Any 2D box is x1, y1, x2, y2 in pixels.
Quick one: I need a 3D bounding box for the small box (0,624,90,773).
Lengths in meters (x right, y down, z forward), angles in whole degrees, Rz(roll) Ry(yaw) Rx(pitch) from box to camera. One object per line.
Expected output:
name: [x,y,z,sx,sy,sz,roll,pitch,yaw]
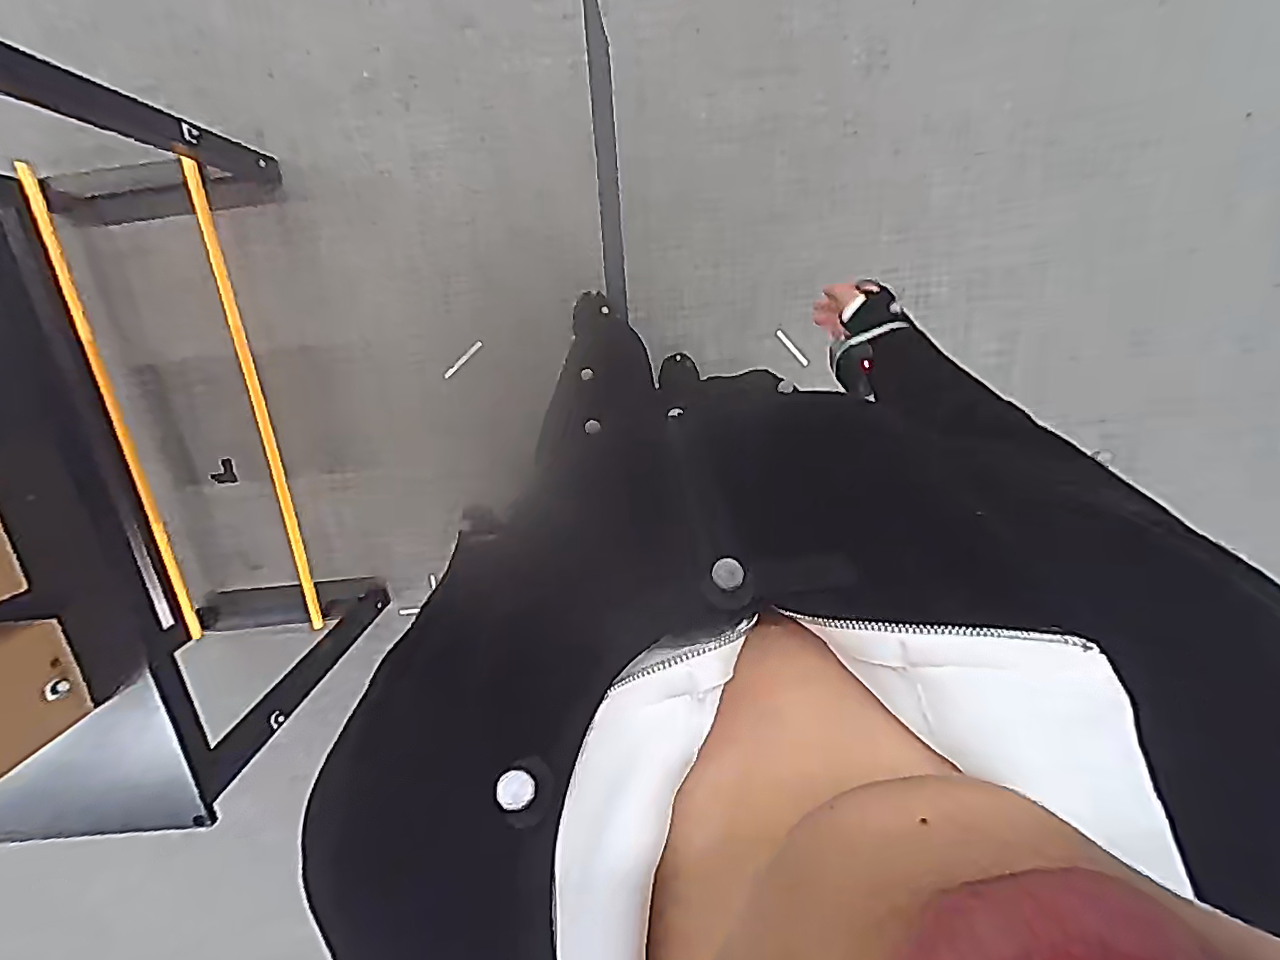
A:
small box: [-0.944,0.317,0.745,0.179,0.176,0.168,-6,108,1]
